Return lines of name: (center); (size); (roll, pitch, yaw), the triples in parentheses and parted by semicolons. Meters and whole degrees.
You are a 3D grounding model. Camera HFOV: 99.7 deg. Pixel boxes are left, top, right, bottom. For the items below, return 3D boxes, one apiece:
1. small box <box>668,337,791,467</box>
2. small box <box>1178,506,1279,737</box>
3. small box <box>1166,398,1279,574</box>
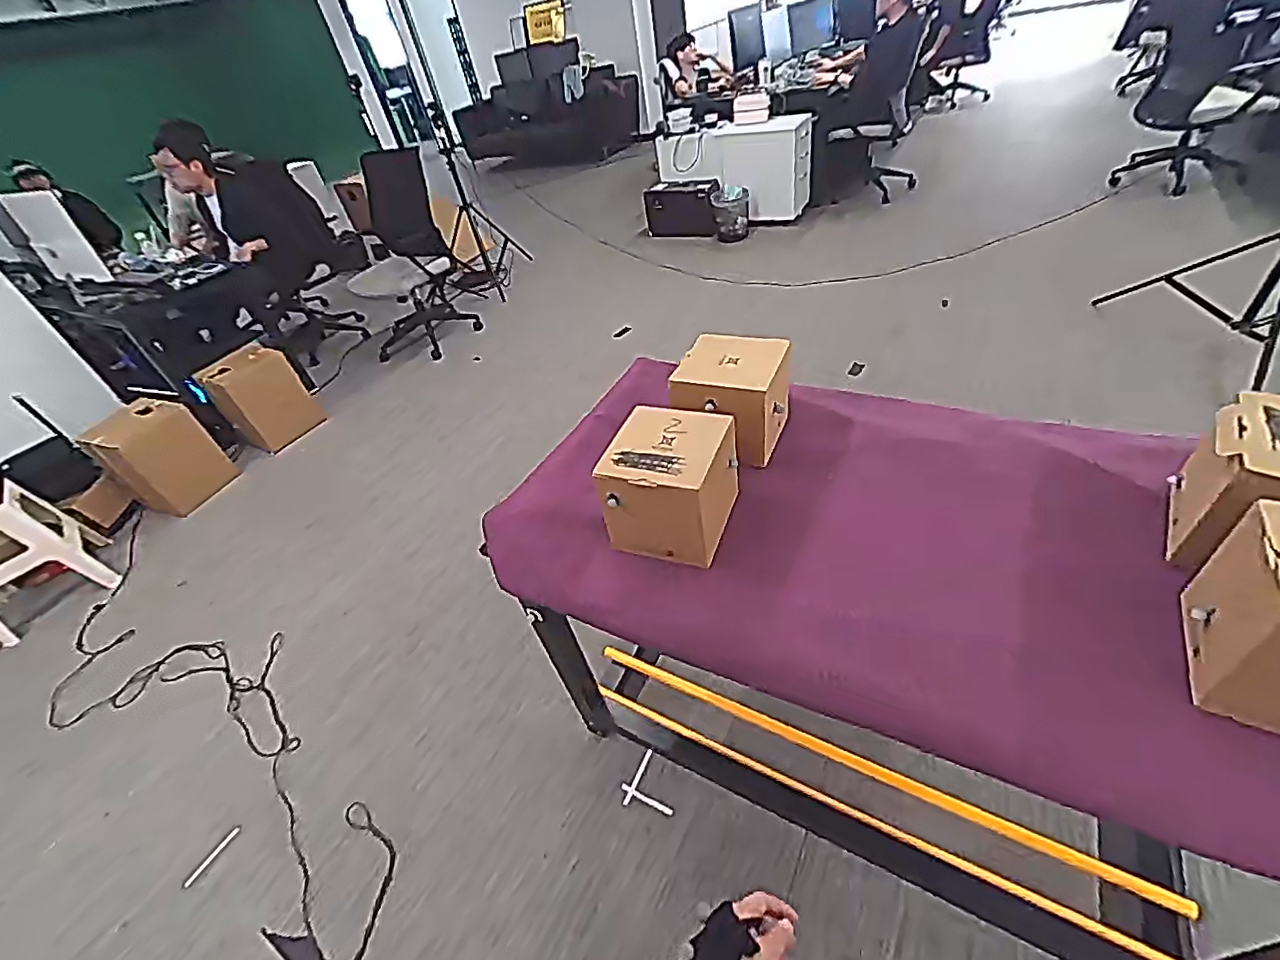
small box: (0.170, -0.143, 1.001); (0.179, 0.176, 0.168); (11, 47, 24)
small box: (0.692, 0.157, 0.535); (0.179, 0.176, 0.168); (15, 46, 29)
small box: (0.788, 0.029, 0.655); (0.179, 0.176, 0.168); (20, 52, 30)
